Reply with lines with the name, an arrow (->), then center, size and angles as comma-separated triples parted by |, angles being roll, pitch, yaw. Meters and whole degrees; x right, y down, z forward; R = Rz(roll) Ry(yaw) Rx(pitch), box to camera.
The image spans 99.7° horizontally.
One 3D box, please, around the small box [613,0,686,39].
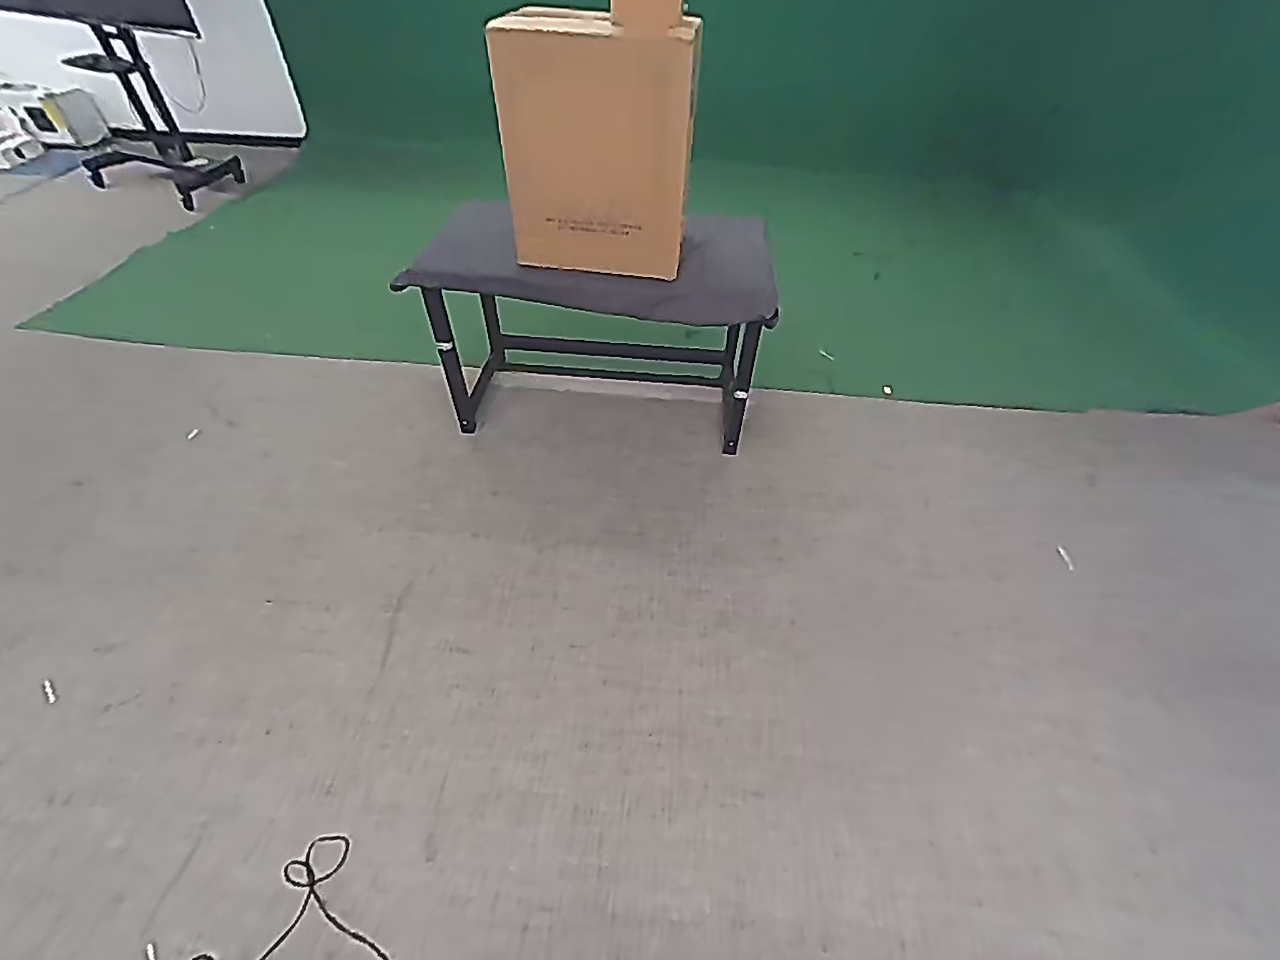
small box -> 0.028, -1.272, 1.407 | 0.179, 0.176, 0.168 | 9, 49, 2
